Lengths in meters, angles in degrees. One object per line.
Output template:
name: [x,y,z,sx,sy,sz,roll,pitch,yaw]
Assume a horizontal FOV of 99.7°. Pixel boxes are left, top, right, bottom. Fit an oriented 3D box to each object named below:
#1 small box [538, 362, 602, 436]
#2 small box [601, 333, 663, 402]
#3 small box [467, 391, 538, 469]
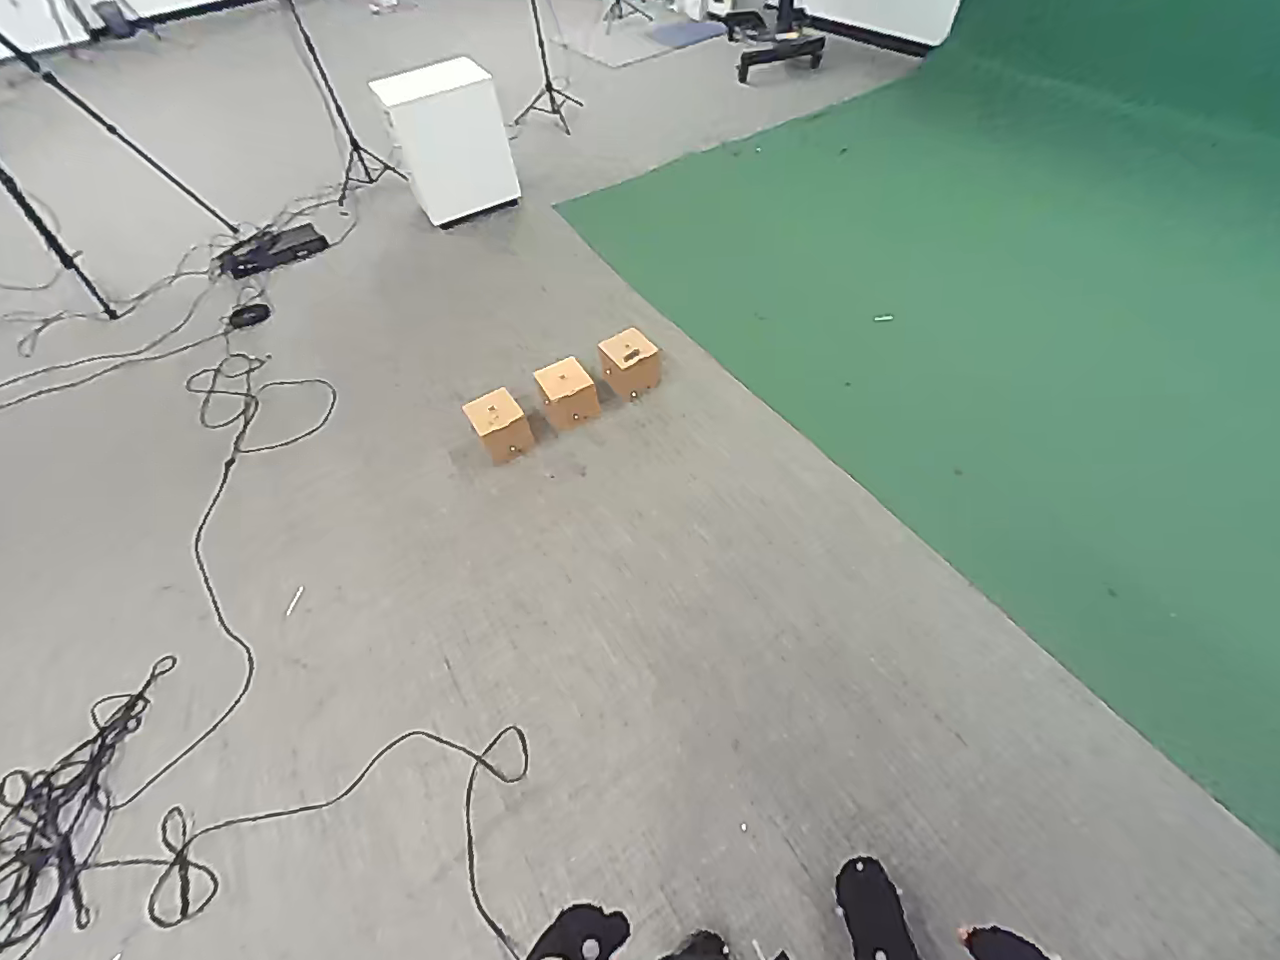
small box: [-0.253,-0.294,1.978,0.168,0.176,0.179,-27,55,-15]
small box: [-0.025,-0.417,2.049,0.168,0.176,0.179,-30,55,-17]
small box: [-0.481,-0.173,1.903,0.168,0.176,0.179,-29,56,-15]
